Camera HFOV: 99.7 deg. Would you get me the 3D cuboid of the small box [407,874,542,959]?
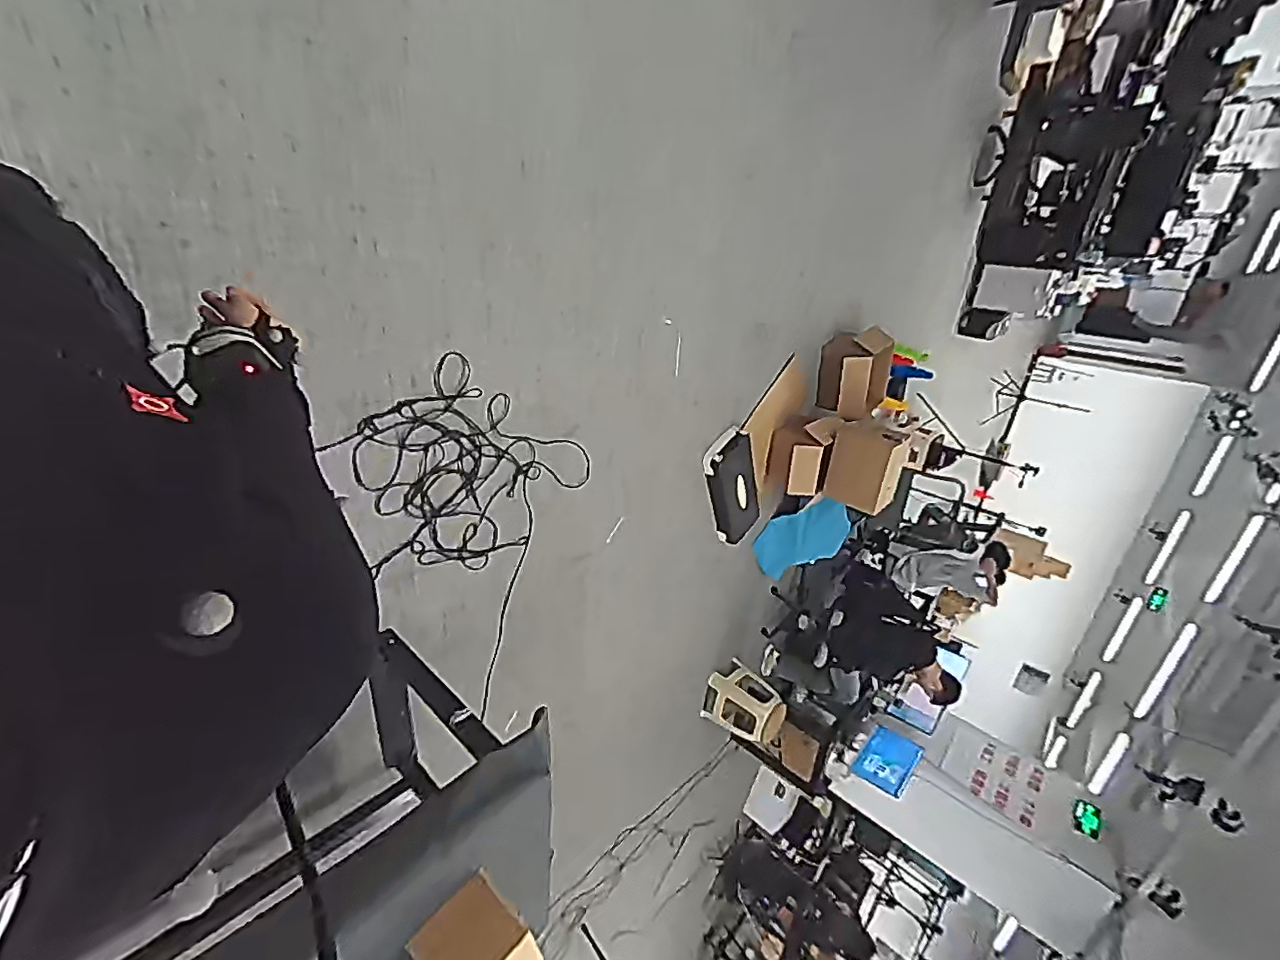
[{"bbox_3d":[-0.323,0.938,1.067,0.179,0.176,0.168,-34,133,-36],"label":"small box"}]
